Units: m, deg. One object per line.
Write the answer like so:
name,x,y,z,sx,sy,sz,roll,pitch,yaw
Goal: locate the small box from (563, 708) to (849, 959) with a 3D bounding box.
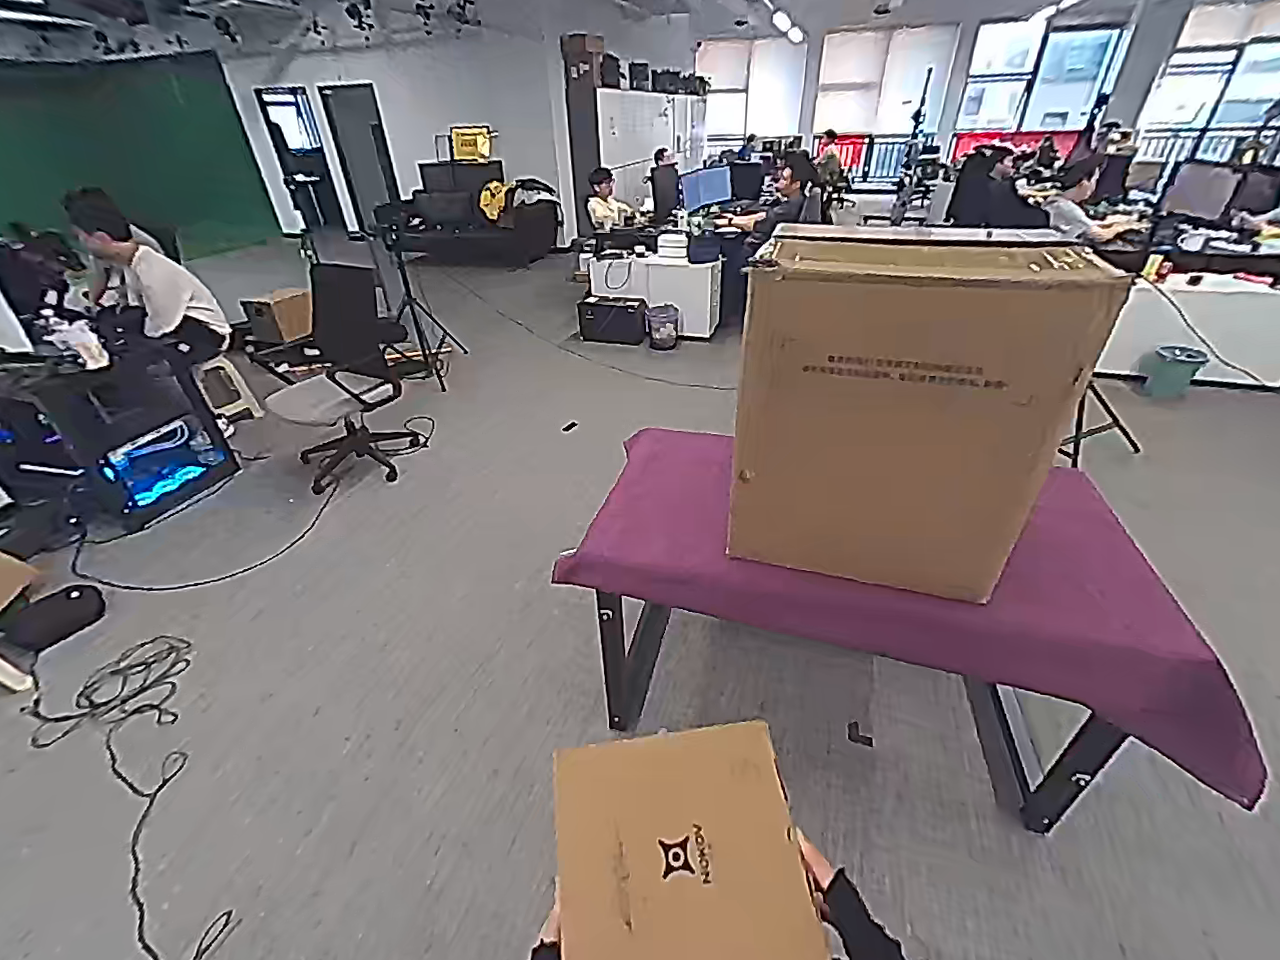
small box,0.035,0.307,0.442,0.179,0.176,0.168,-7,49,-6
